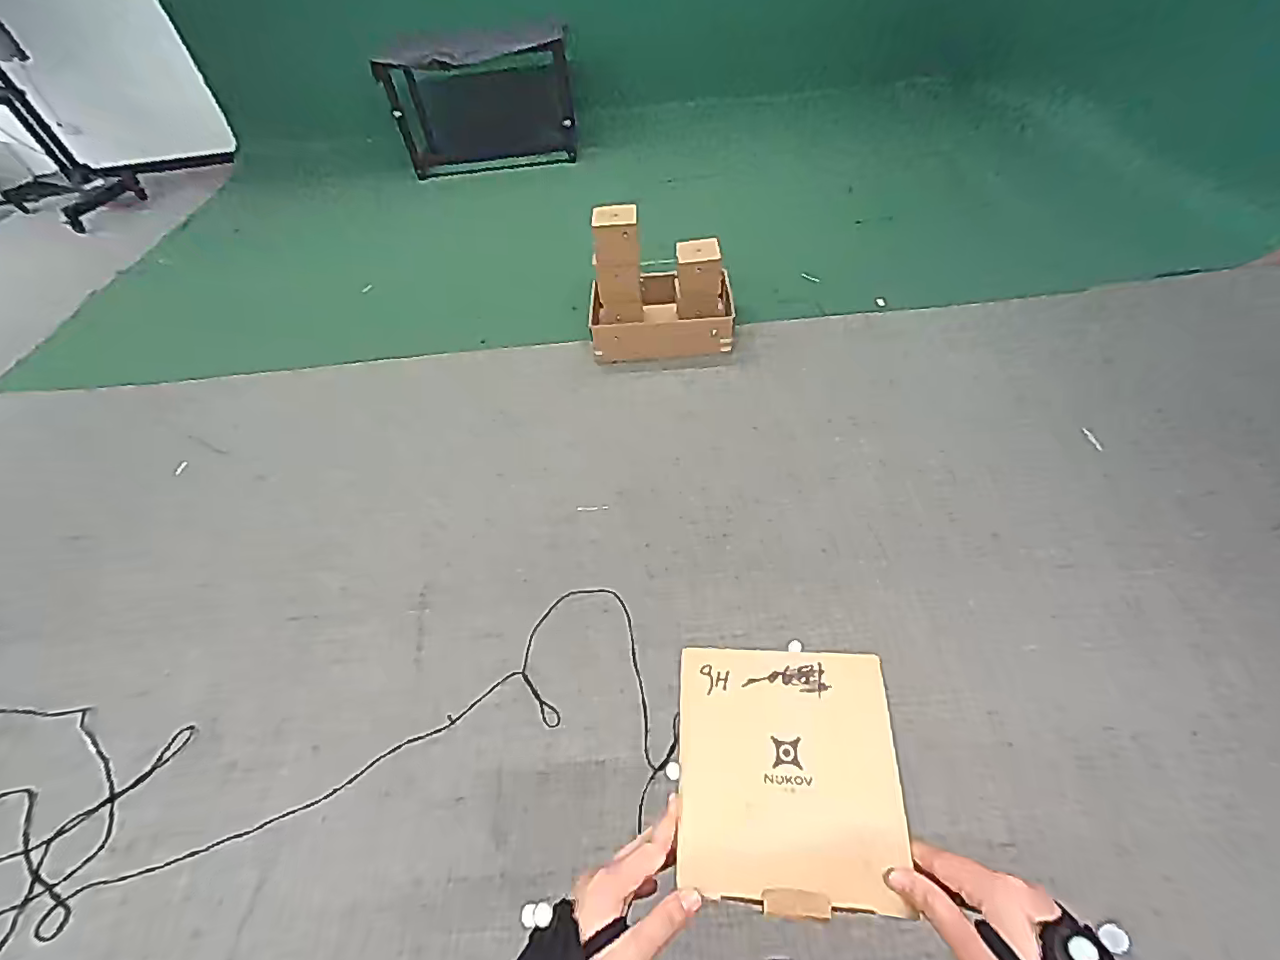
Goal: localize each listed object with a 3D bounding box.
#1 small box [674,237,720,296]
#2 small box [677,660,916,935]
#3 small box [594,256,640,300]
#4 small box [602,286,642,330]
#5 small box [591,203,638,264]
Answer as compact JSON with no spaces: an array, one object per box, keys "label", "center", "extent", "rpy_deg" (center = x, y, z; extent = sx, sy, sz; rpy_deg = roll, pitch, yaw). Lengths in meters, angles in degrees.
[{"label":"small box","center":[0.242,-0.895,2.275],"extent":[0.179,0.176,0.168],"rpy_deg":[-5,52,3]},{"label":"small box","center":[0.122,0.271,0.485],"extent":[0.168,0.176,0.179],"rpy_deg":[0,60,7]},{"label":"small box","center":[-0.095,-0.886,2.304],"extent":[0.179,0.176,0.168],"rpy_deg":[-2,51,2]},{"label":"small box","center":[-0.077,-0.790,2.436],"extent":[0.168,0.176,0.179],"rpy_deg":[-4,51,2]},{"label":"small box","center":[-0.097,-0.989,2.175],"extent":[0.179,0.176,0.168],"rpy_deg":[-3,50,3]}]
